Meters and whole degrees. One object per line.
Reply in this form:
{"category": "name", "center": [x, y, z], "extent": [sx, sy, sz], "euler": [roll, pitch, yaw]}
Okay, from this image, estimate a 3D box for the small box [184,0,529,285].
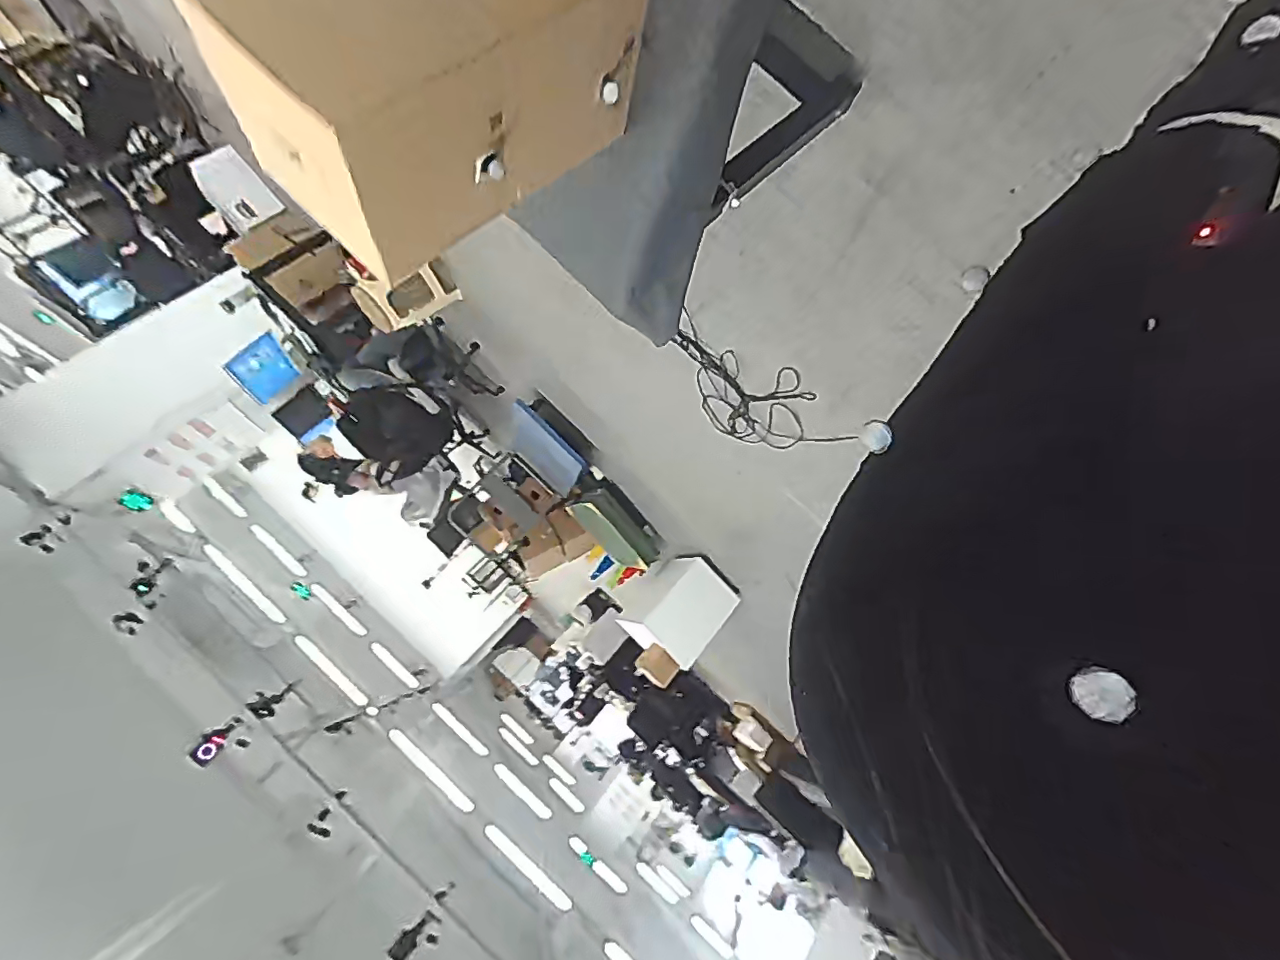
{"category": "small box", "center": [-0.217, -0.314, 0.461], "extent": [0.179, 0.176, 0.168], "euler": [42, 159, 5]}
